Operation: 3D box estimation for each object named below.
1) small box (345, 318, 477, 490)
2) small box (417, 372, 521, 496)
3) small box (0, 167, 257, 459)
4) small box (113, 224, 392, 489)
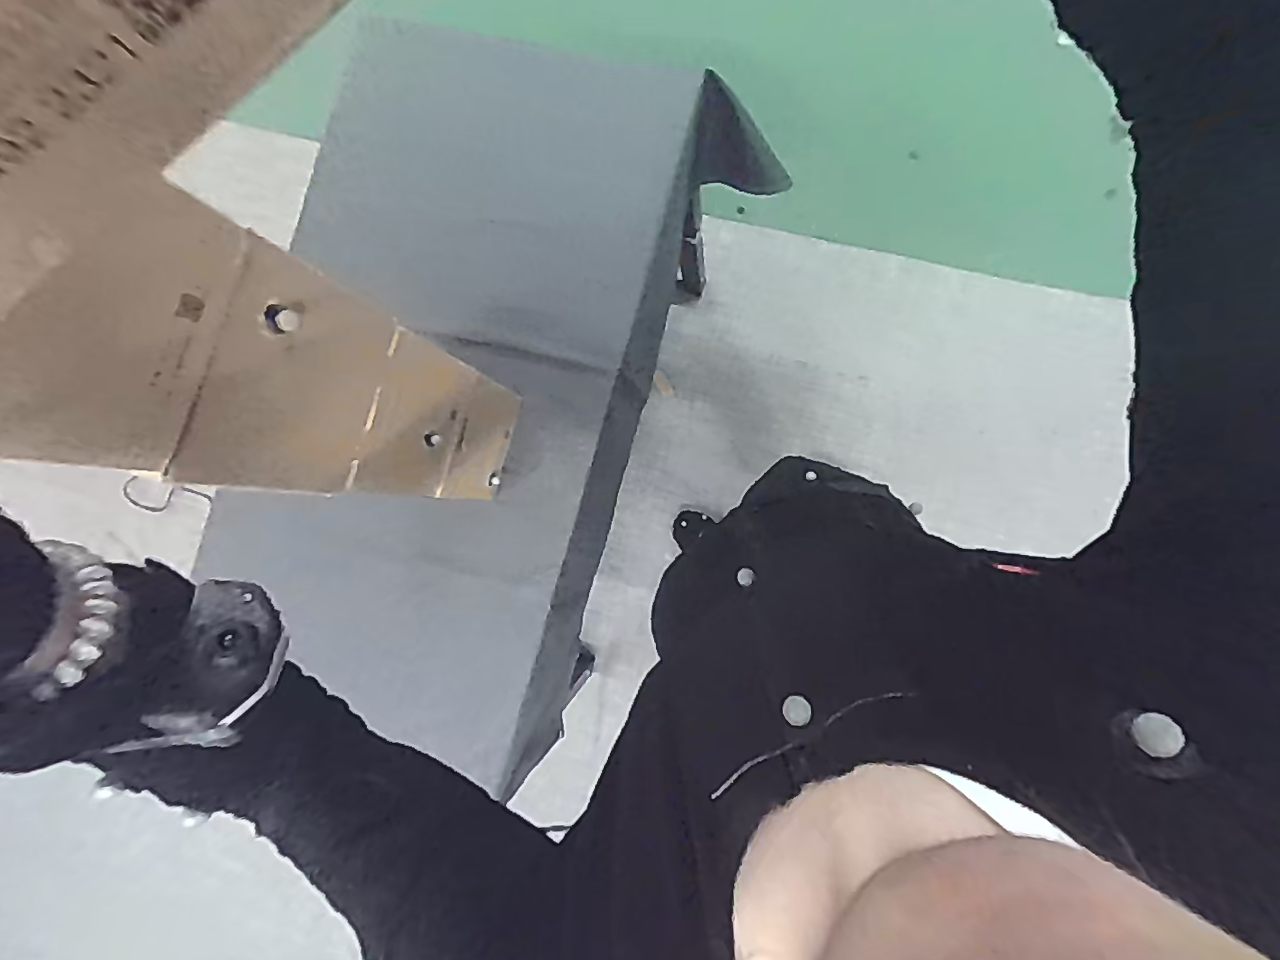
[{"bbox_3d":[-0.317,-0.088,0.609,0.179,0.176,0.168,16,89,9],"label":"small box"},{"bbox_3d":[-0.292,-0.077,0.769,0.179,0.176,0.168,15,89,11],"label":"small box"},{"bbox_3d":[-0.363,-0.116,0.286,0.179,0.176,0.168,19,89,10],"label":"small box"},{"bbox_3d":[-0.339,-0.100,0.447,0.168,0.176,0.179,17,89,10],"label":"small box"}]
